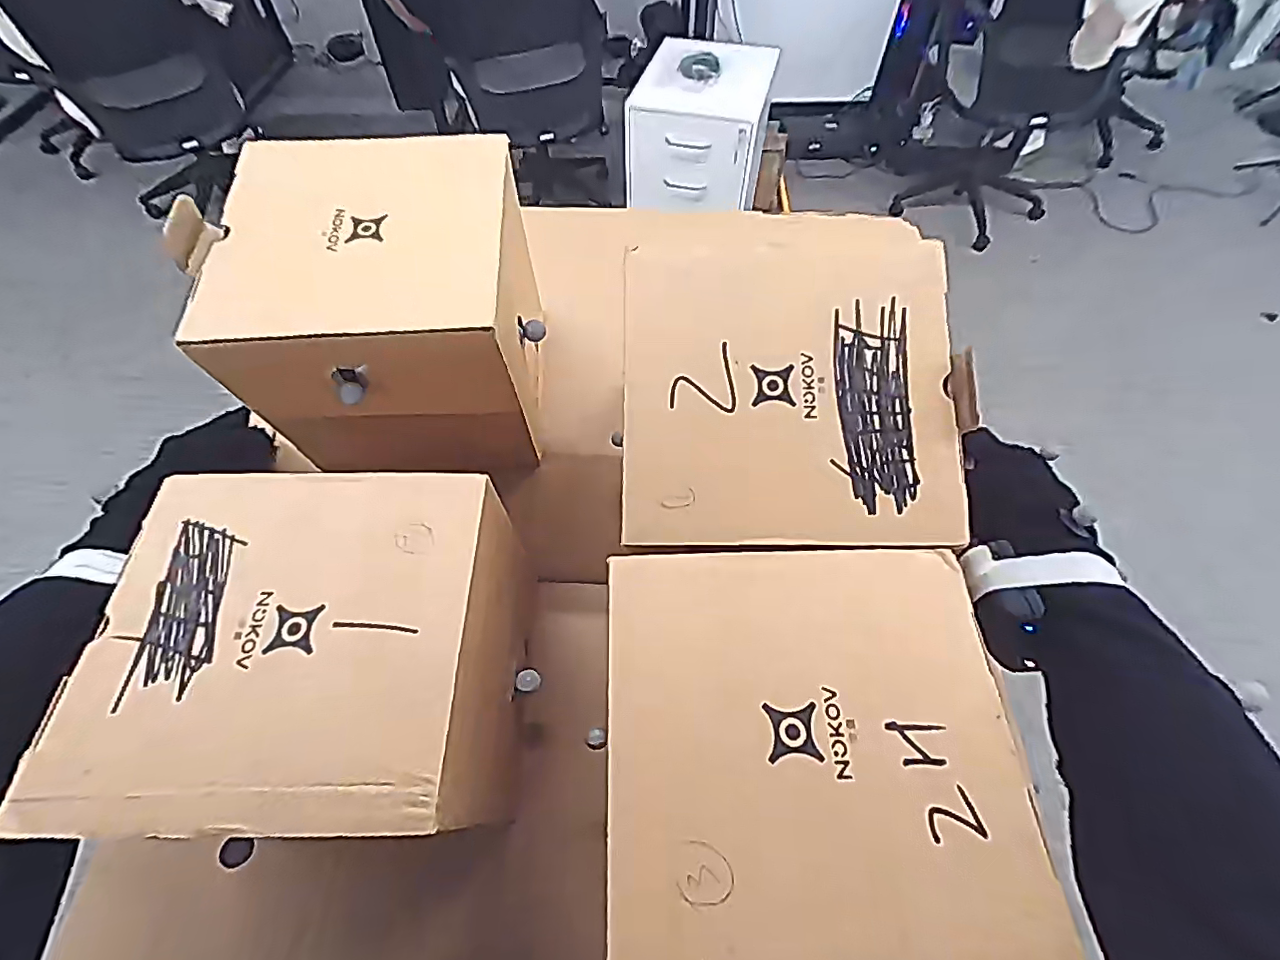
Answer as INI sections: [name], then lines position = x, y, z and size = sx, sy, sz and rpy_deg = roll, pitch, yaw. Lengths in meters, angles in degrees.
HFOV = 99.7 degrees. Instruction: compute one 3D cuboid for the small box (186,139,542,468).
[small box]
position = -0.172, -0.120, 0.408
size = 0.179, 0.176, 0.168
rpy_deg = -4, 65, 0
